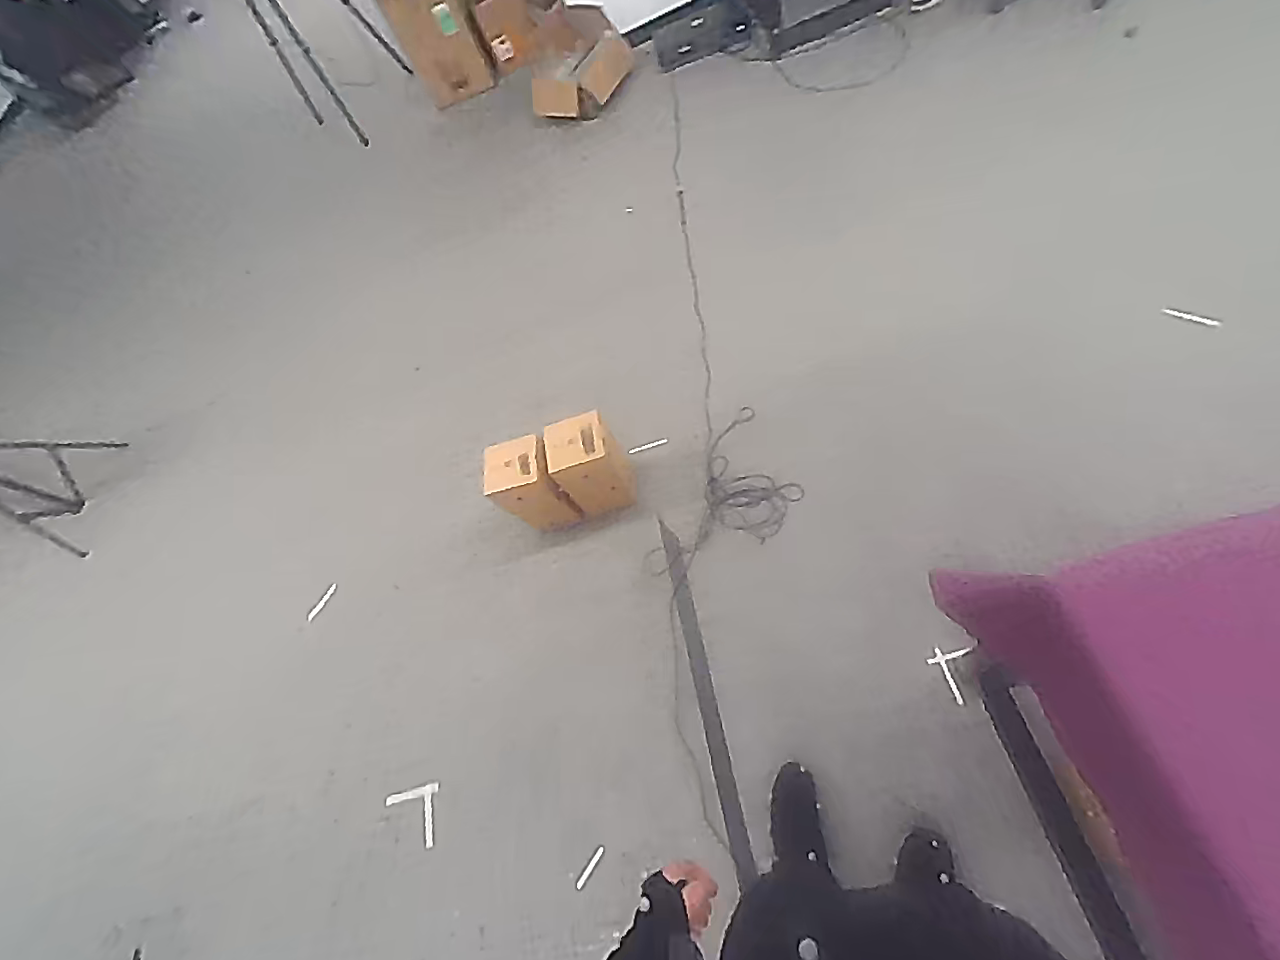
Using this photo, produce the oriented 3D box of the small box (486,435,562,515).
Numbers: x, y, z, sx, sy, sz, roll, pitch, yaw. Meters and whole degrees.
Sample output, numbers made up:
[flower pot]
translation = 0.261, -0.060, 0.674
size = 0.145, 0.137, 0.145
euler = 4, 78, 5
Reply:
[small box]
translation = -0.347, -0.010, 1.646
size = 0.179, 0.176, 0.168
euler = -15, 61, 14
